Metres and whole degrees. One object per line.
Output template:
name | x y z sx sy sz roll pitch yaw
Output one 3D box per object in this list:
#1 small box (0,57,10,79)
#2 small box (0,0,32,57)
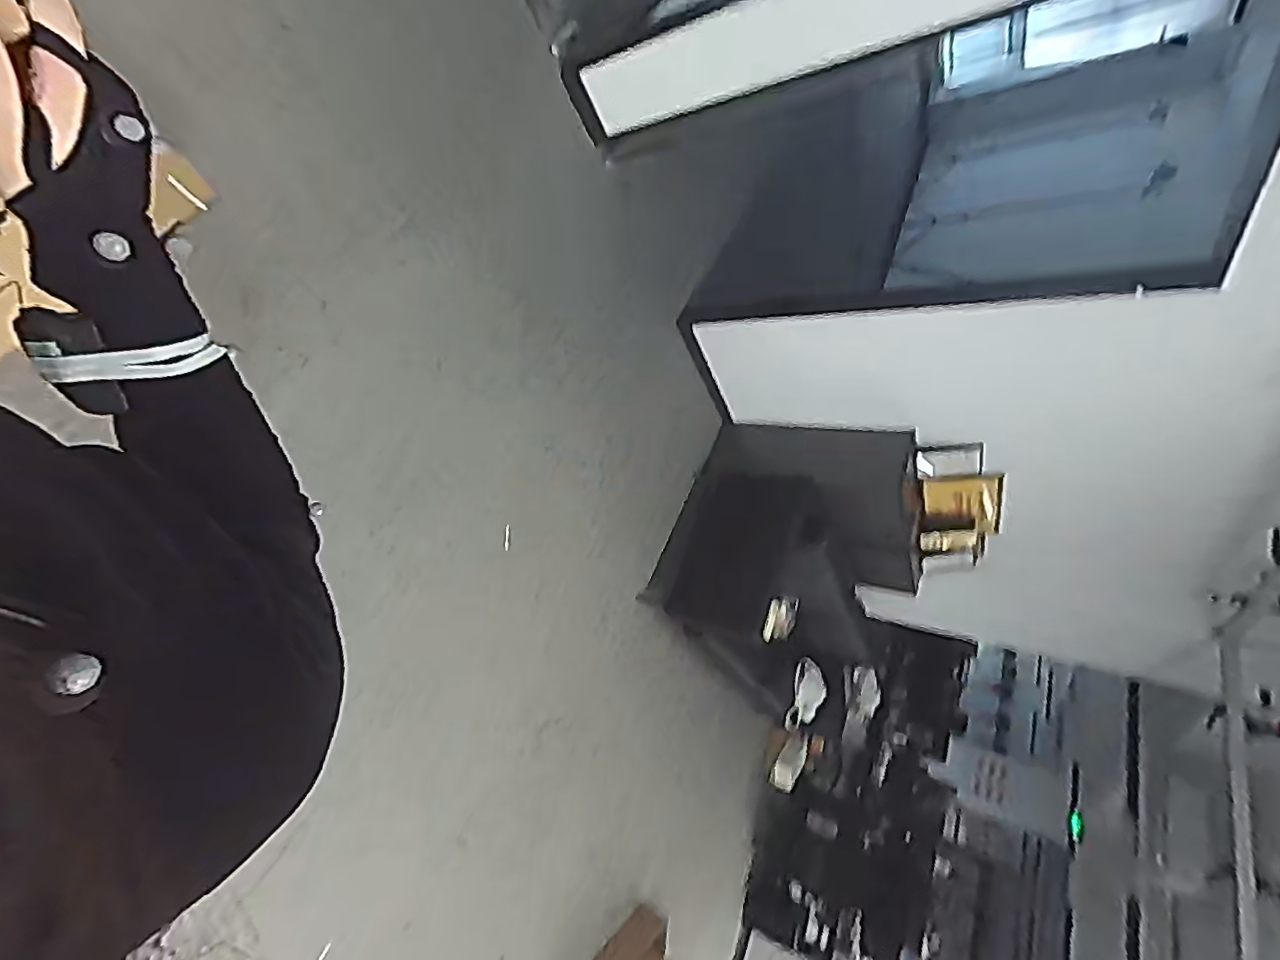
small box | -0.924 -0.511 0.629 0.179 0.176 0.168 53 52 -45
small box | -0.791 -0.498 0.536 0.168 0.176 0.179 56 52 -44
